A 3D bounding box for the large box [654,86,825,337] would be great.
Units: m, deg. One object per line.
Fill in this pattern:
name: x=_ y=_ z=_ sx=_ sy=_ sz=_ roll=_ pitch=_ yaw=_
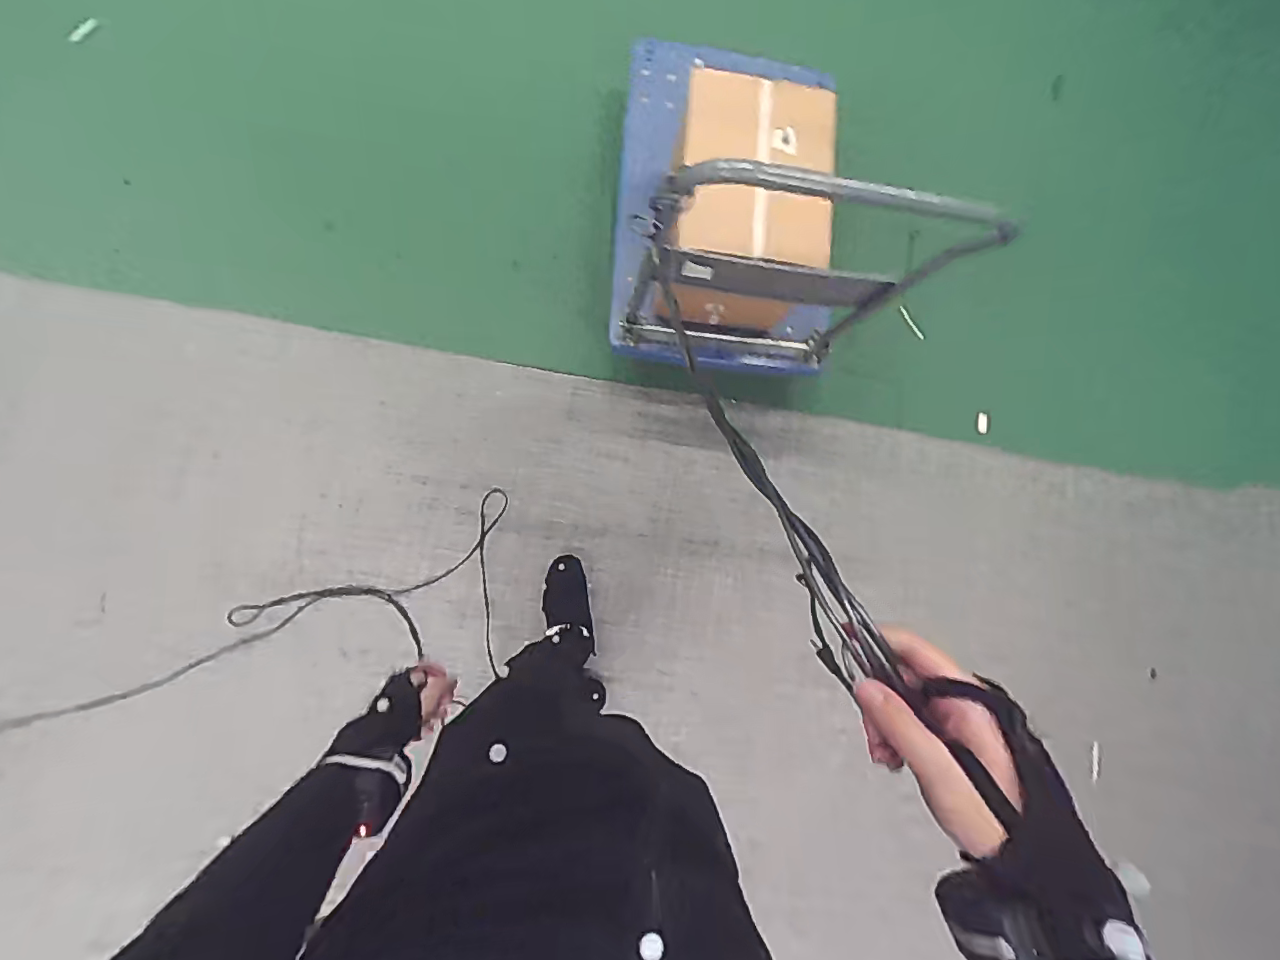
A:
large box: x=0.214 y=-0.589 z=1.256 sx=0.320 sy=0.320 sz=0.408 roll=6 pitch=81 yaw=-8
